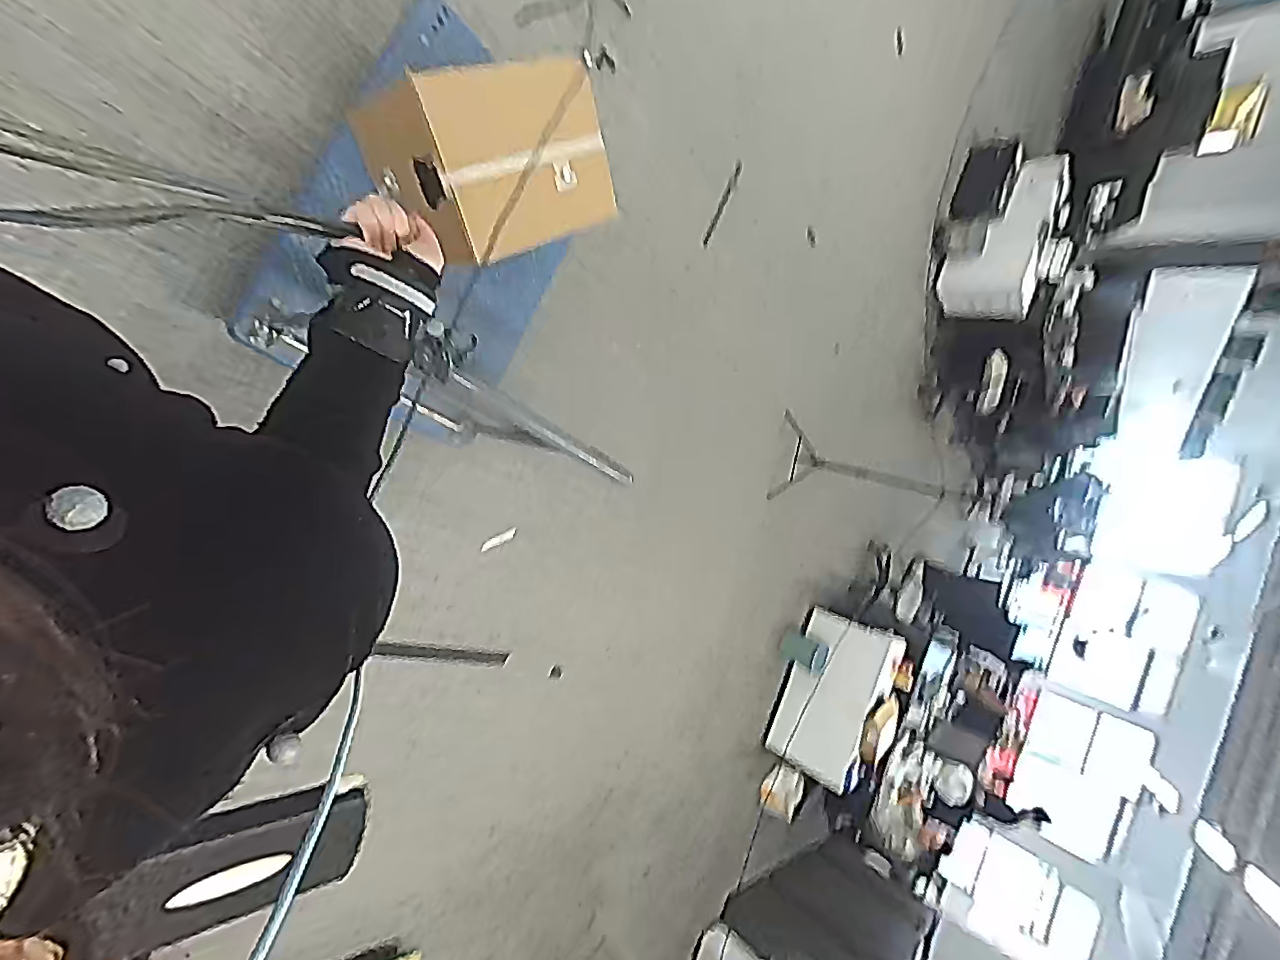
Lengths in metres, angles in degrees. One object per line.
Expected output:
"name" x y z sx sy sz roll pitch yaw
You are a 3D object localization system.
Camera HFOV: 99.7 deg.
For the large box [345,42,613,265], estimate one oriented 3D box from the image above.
"large box" -0.333 -0.695 1.180 0.408 0.320 0.320 -40 131 -31
